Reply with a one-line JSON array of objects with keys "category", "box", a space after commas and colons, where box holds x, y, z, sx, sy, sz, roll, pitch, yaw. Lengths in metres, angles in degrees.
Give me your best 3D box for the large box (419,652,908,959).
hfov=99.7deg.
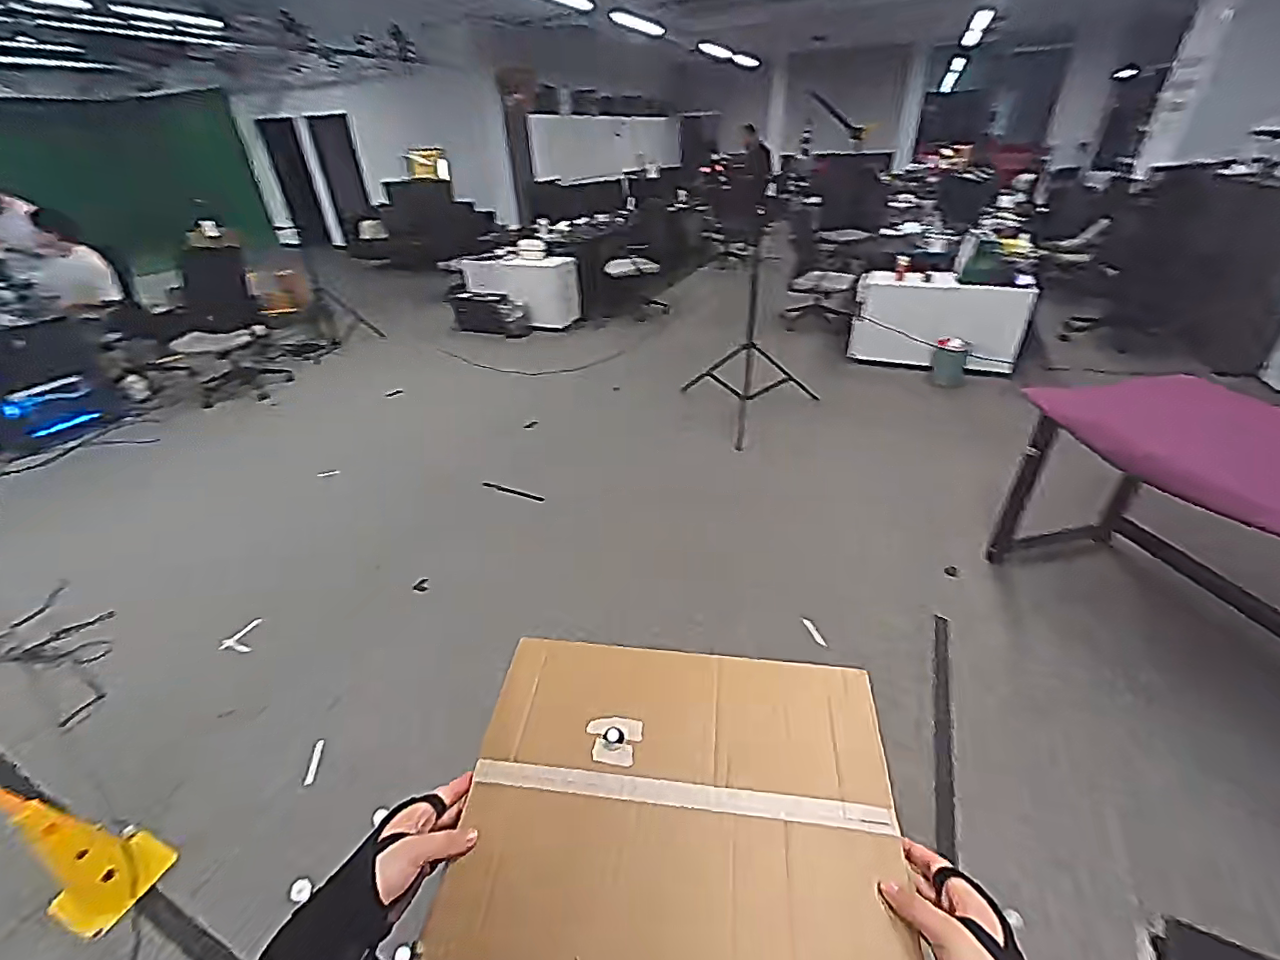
[{"category": "large box", "box": [0.038, 0.426, 0.624, 0.408, 0.320, 0.320, 1, 40, 8]}]
